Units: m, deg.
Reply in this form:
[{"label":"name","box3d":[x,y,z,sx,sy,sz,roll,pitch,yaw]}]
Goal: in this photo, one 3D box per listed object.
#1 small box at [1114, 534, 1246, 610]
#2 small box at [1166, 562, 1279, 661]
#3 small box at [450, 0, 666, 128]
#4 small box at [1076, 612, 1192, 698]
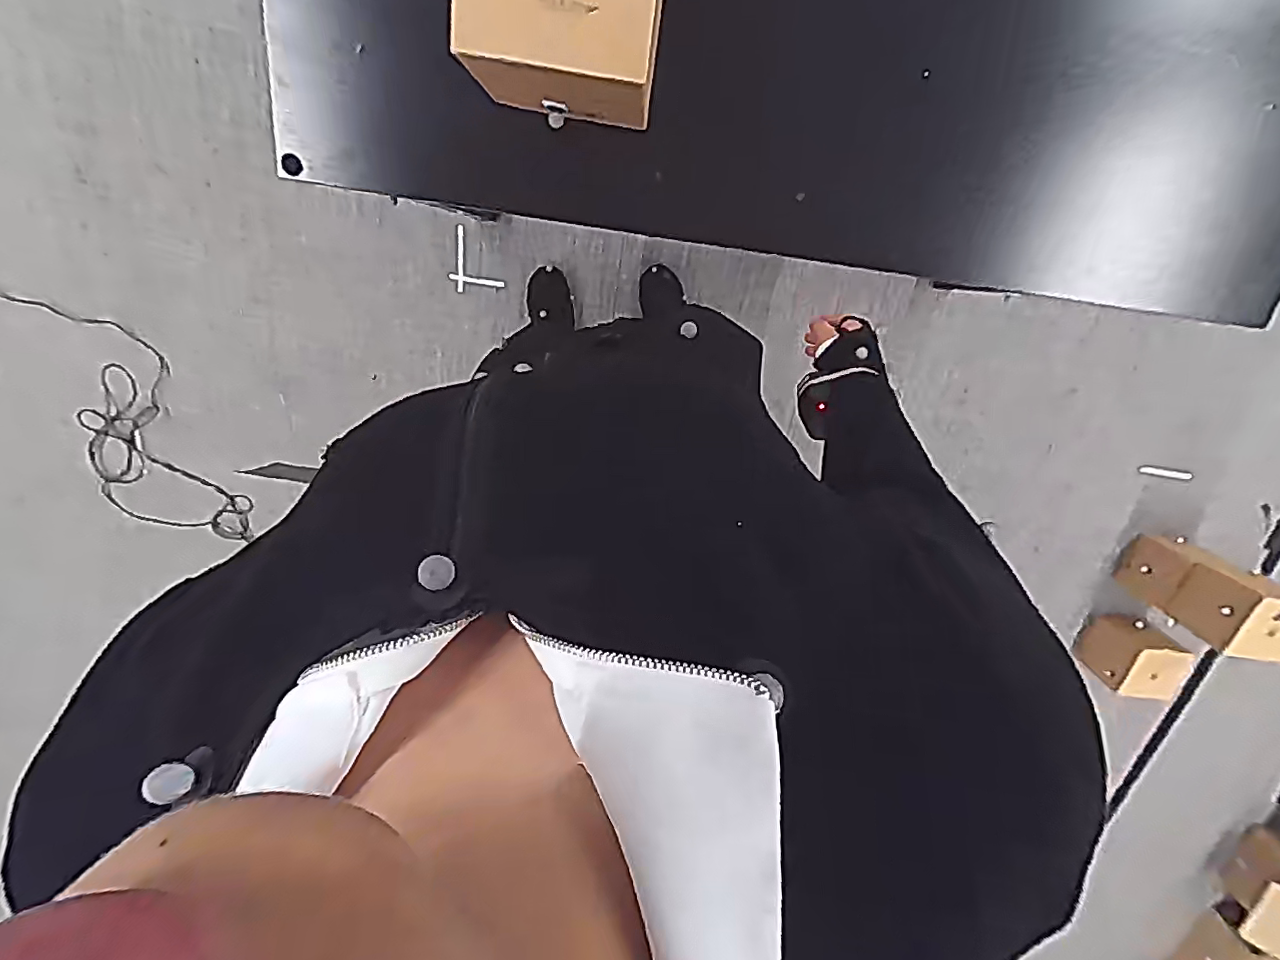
[{"label":"small box","box3d":[1.530,0.269,1.549,0.179,0.176,0.168,10,111,-3]},{"label":"small box","box3d":[1.536,0.333,1.396,0.168,0.176,0.179,10,112,-4]},{"label":"small box","box3d":[-0.060,-0.448,0.487,0.168,0.176,0.179,8,112,-2]},{"label":"small box","box3d":[1.496,0.533,1.654,0.168,0.176,0.179,7,112,-3]}]
